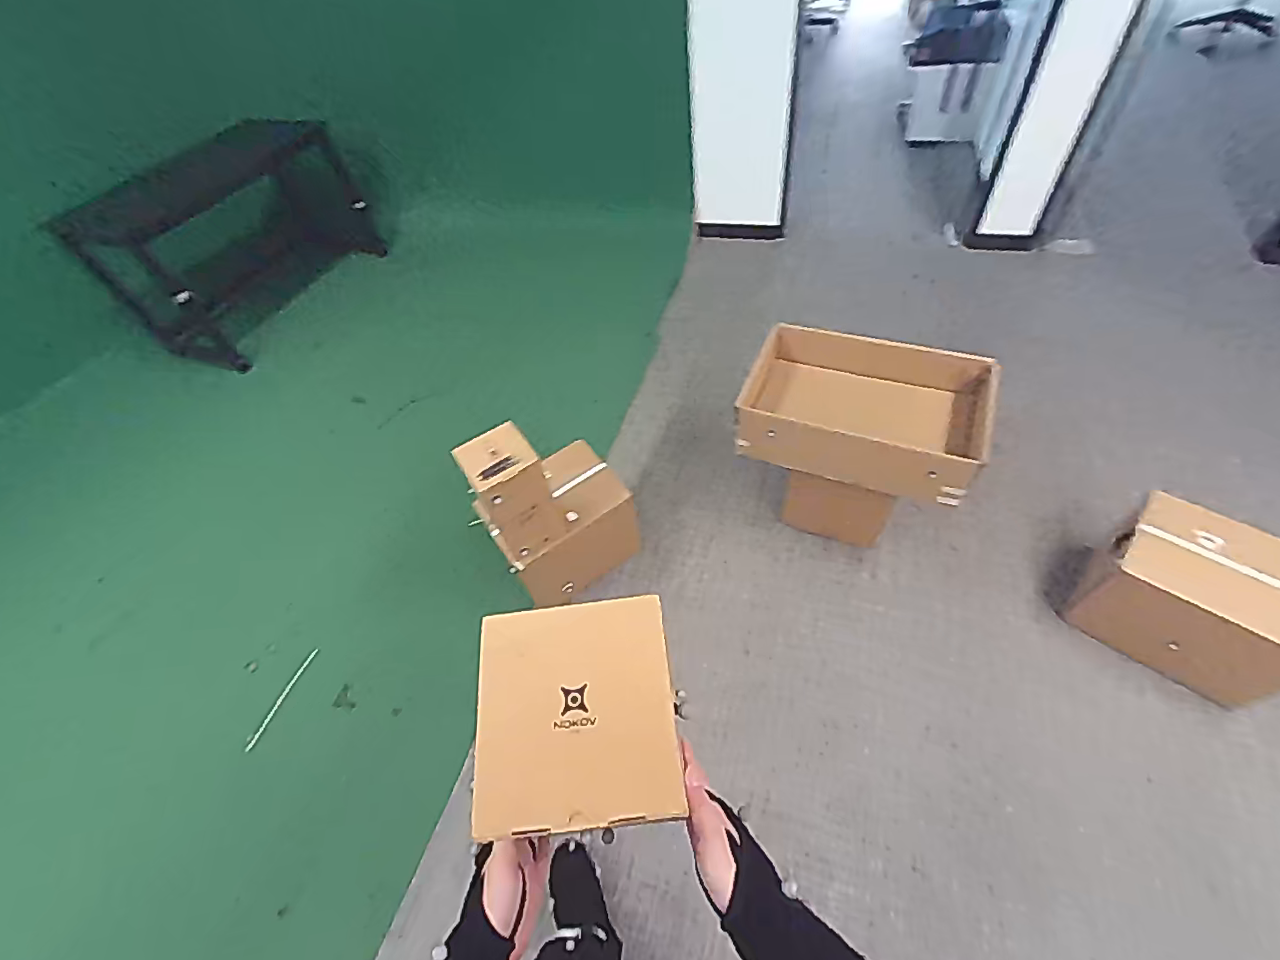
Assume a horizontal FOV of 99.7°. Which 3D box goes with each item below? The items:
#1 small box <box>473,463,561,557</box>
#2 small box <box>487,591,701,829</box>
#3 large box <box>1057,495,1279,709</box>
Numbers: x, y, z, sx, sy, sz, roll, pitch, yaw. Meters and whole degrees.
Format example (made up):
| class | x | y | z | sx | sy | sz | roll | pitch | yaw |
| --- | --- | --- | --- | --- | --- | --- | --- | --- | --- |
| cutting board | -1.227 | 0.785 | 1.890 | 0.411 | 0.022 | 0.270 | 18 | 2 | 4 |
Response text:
| class | x | y | z | sx | sy | sz | roll | pitch | yaw |
| --- | --- | --- | --- | --- | --- | --- | --- | --- | --- |
| small box | -0.340 | 0.092 | 1.522 | 0.168 | 0.176 | 0.179 | -30 | 54 | -17 |
| small box | -0.037 | 0.225 | 0.519 | 0.168 | 0.176 | 0.179 | -7 | 59 | 1 |
| large box | 1.432 | 0.316 | 1.419 | 0.408 | 0.320 | 0.320 | 31 | 61 | 29 |
